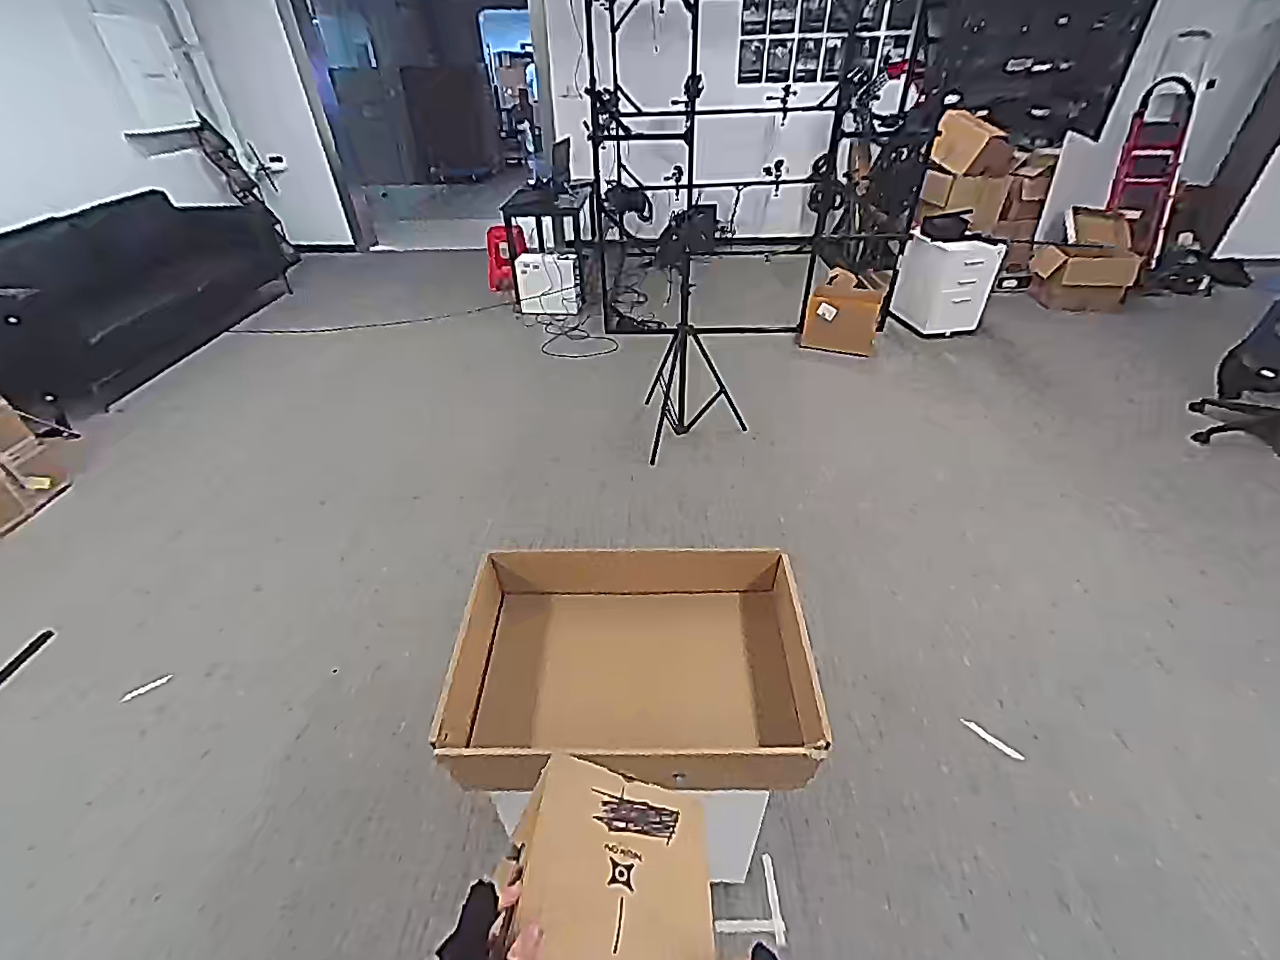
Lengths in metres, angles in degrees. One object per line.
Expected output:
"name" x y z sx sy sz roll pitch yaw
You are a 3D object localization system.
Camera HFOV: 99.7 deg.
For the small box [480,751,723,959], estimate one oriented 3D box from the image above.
"small box" -0.041 0.395 0.486 0.168 0.176 0.179 22 19 -6
